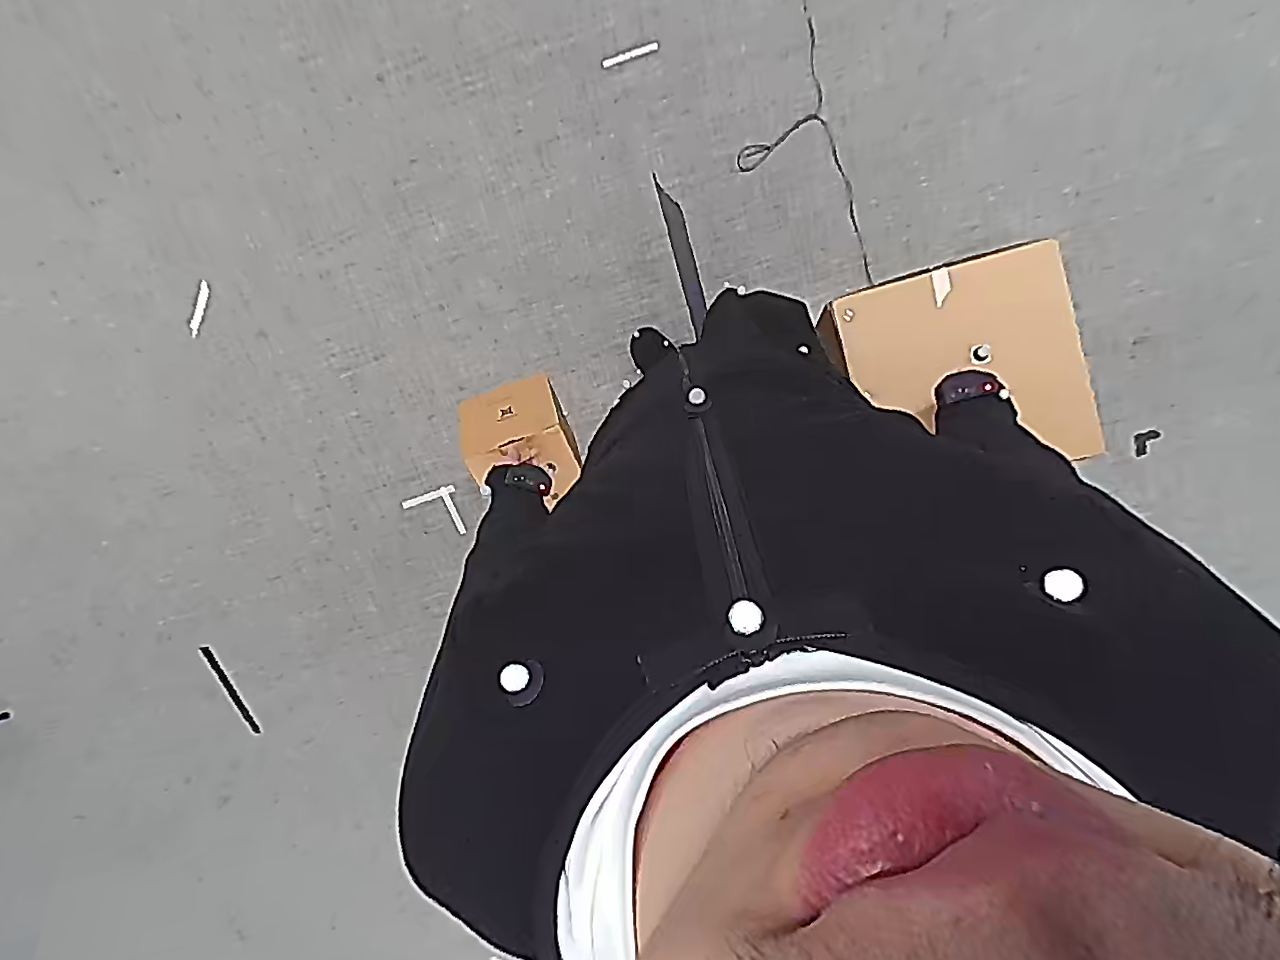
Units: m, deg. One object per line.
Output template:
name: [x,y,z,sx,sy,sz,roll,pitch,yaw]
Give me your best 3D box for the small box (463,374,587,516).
small box: [-0.206,-0.057,0.981,0.168,0.179,0.176,-20,134,-2]
